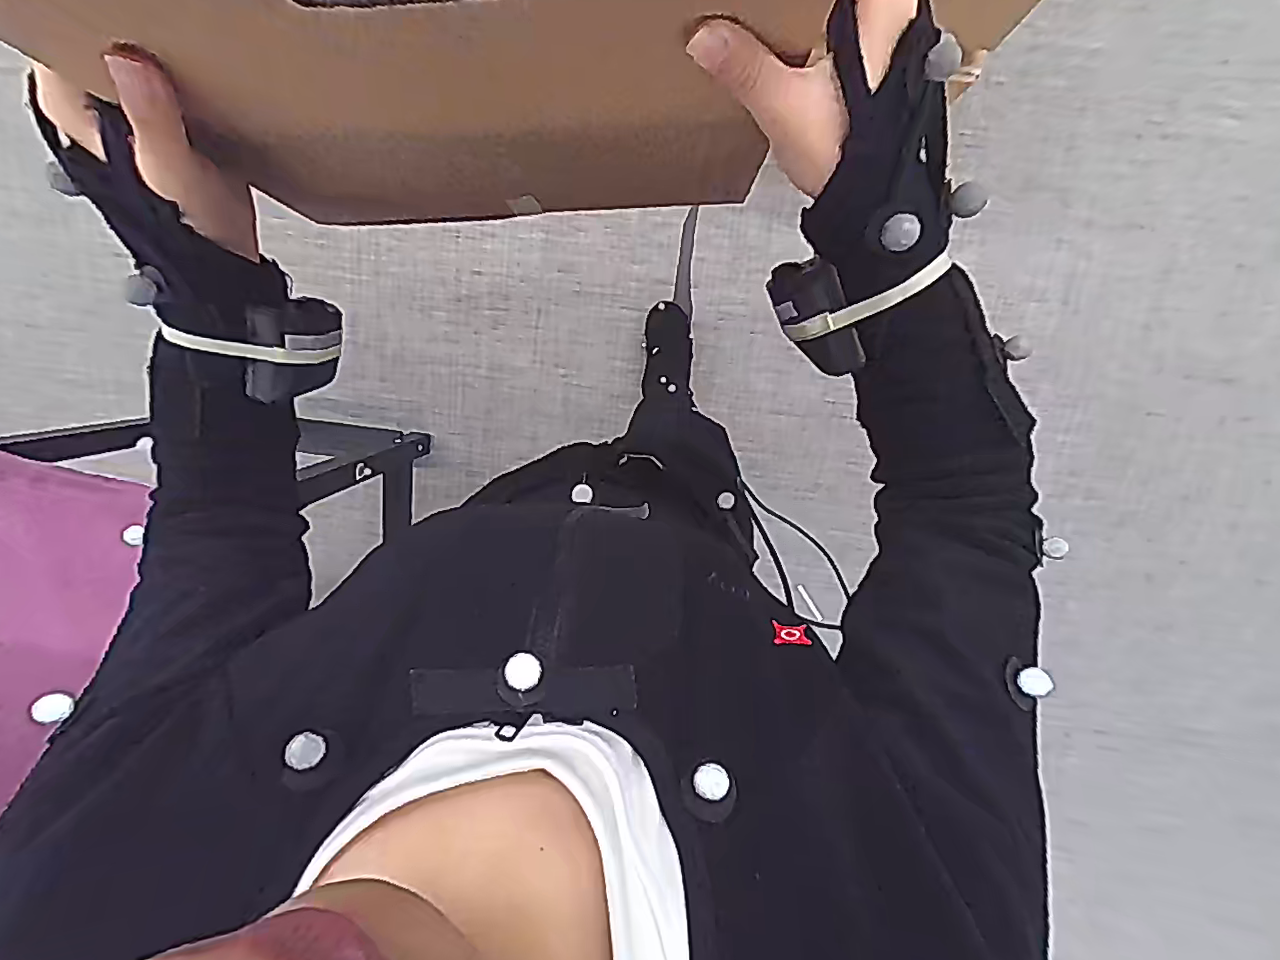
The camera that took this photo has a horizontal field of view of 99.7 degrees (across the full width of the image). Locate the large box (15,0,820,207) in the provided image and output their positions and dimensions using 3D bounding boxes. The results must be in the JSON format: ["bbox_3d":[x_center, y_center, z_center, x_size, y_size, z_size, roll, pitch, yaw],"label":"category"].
[{"bbox_3d":[-0.089,-0.381,0.213,0.320,0.320,0.408,-3,97,2],"label":"large box"}]
